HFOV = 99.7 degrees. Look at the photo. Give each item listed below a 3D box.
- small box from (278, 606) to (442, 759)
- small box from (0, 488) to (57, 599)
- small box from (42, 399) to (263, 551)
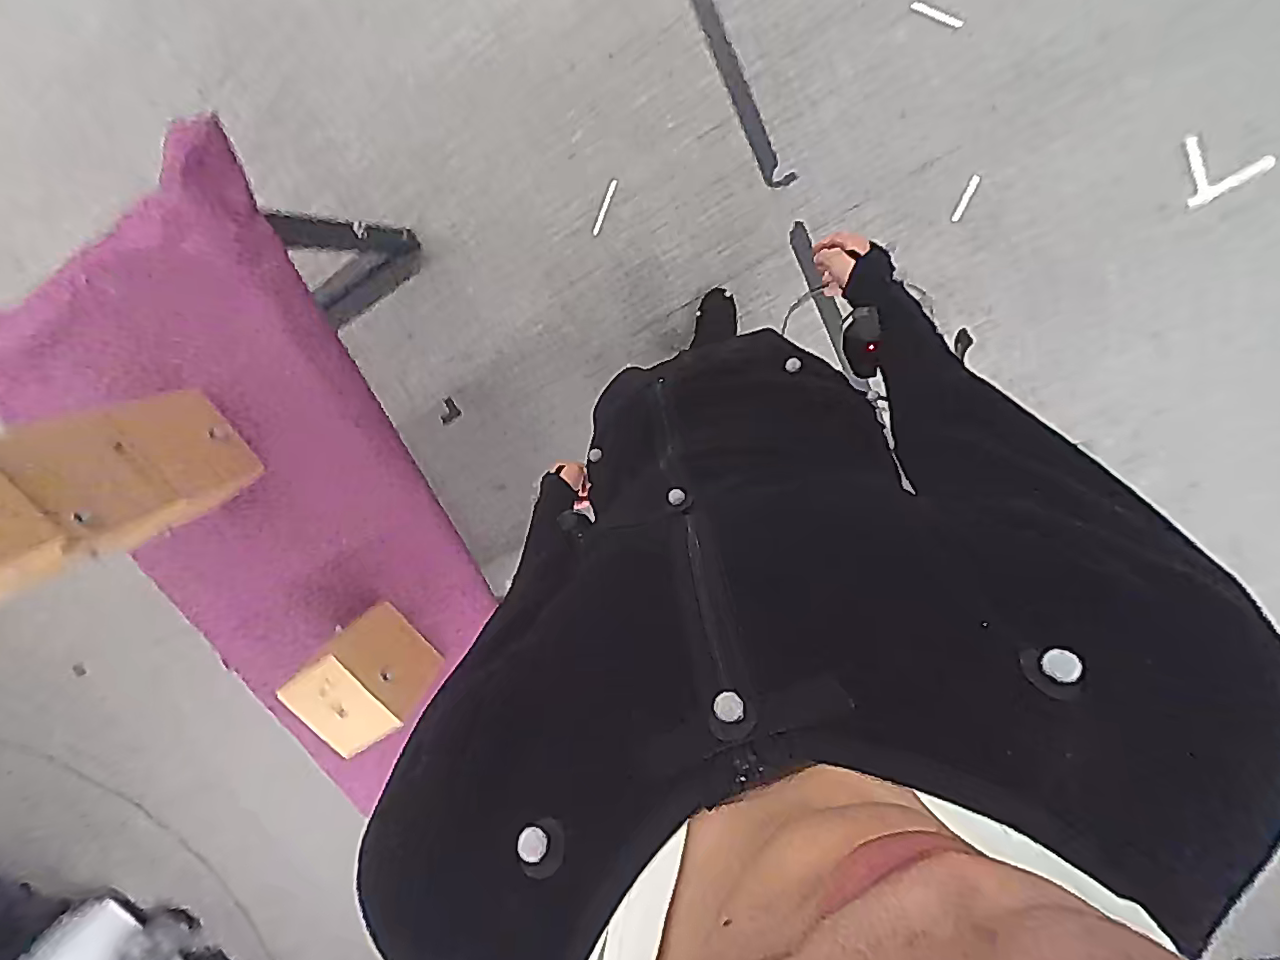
[{"bbox_3d":[-0.510,0.372,1.013,0.168,0.176,0.179,-34,103,18],"label":"small box"},{"bbox_3d":[-0.819,0.081,0.587,0.168,0.176,0.179,-32,104,17],"label":"small box"},{"bbox_3d":[-0.793,-0.019,0.898,0.168,0.176,0.179,-29,104,17],"label":"small box"}]
